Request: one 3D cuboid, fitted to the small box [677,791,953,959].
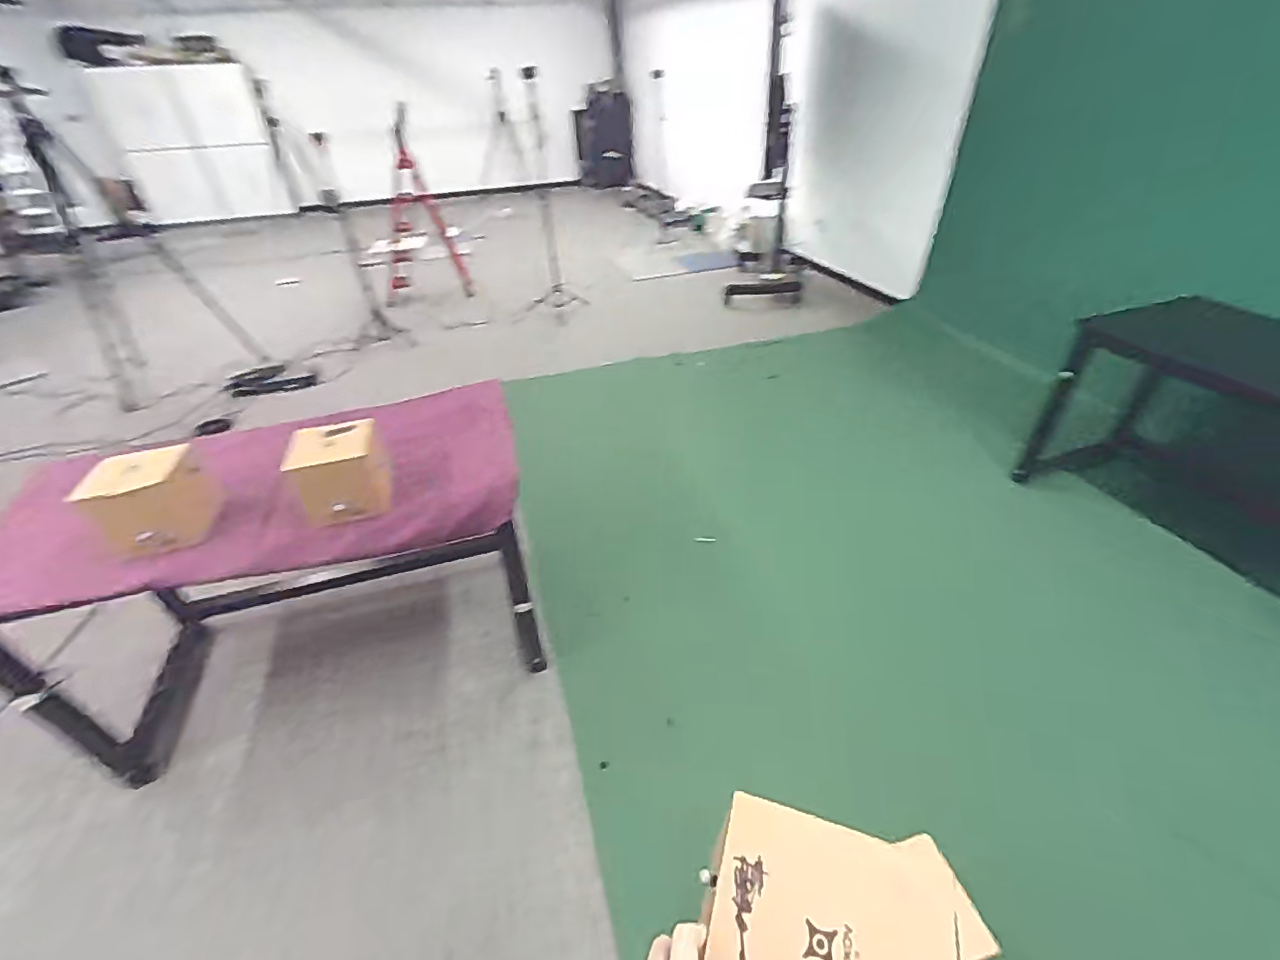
[{"bbox_3d":[0.124,0.388,0.429,0.179,0.176,0.168,14,43,13],"label":"small box"}]

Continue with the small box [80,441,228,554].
[{"bbox_3d":[-1.070,0.037,1.214,0.168,0.176,0.179,-13,36,-12],"label":"small box"}]

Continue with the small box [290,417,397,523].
[{"bbox_3d":[-0.684,-0.025,1.272,0.168,0.176,0.179,-12,38,-11],"label":"small box"}]

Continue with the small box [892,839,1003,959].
[{"bbox_3d":[0.430,0.728,0.882,0.179,0.176,0.168,-10,38,-11],"label":"small box"}]
